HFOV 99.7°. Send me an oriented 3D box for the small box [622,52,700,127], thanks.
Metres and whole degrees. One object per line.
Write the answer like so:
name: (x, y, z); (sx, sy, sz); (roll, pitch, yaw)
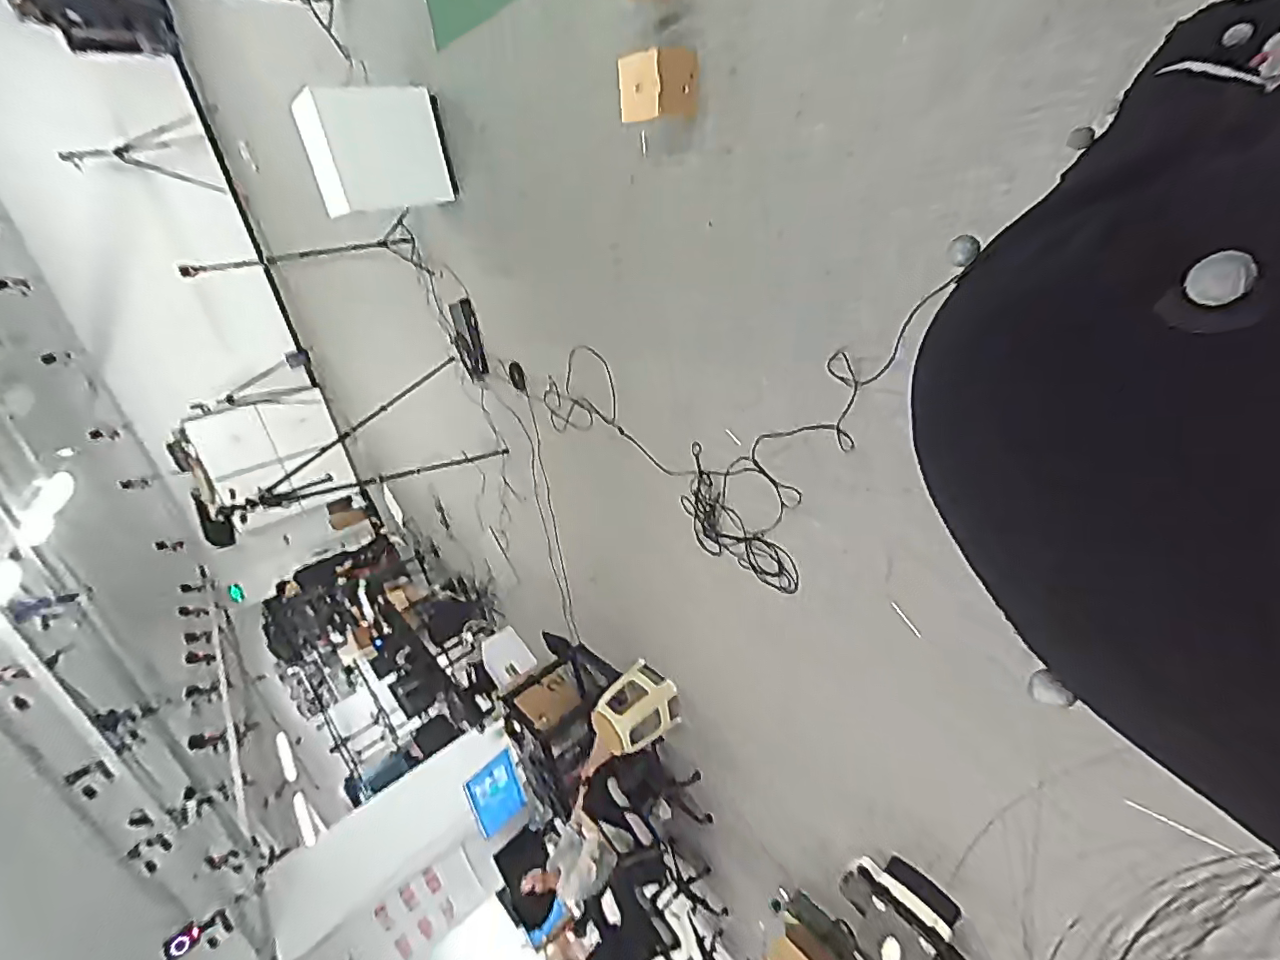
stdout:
small box: (0.065, -1.199, 1.670); (0.179, 0.176, 0.168); (25, 131, 42)
